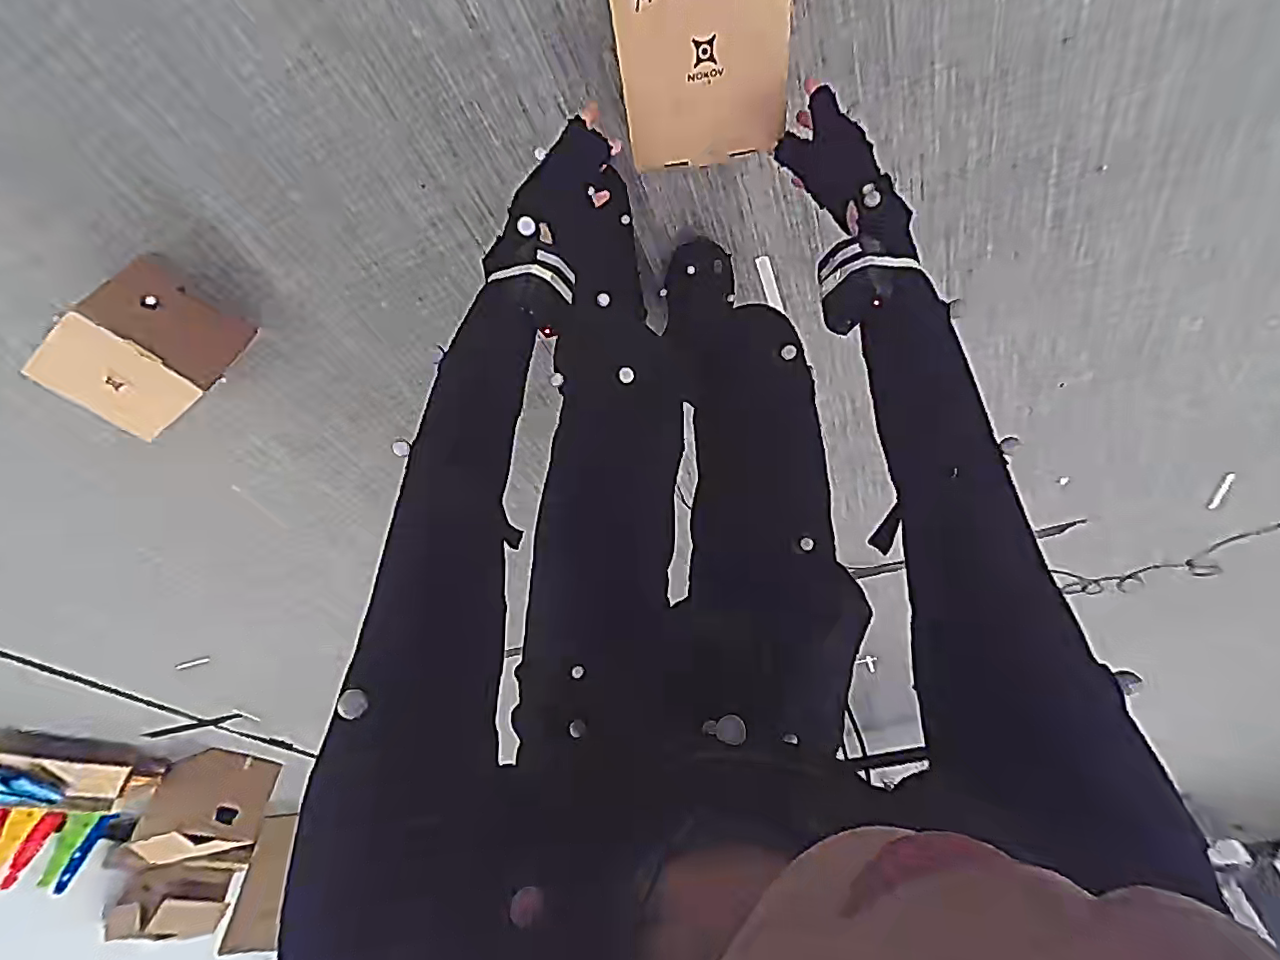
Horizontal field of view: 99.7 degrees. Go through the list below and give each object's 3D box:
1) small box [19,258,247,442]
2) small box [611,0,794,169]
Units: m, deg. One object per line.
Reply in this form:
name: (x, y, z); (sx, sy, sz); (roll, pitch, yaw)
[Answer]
small box: (-0.739, -0.195, 0.811); (0.179, 0.176, 0.168); (-26, 131, 24)
small box: (0.059, -0.462, 0.569); (0.168, 0.176, 0.179); (-8, 138, 4)
